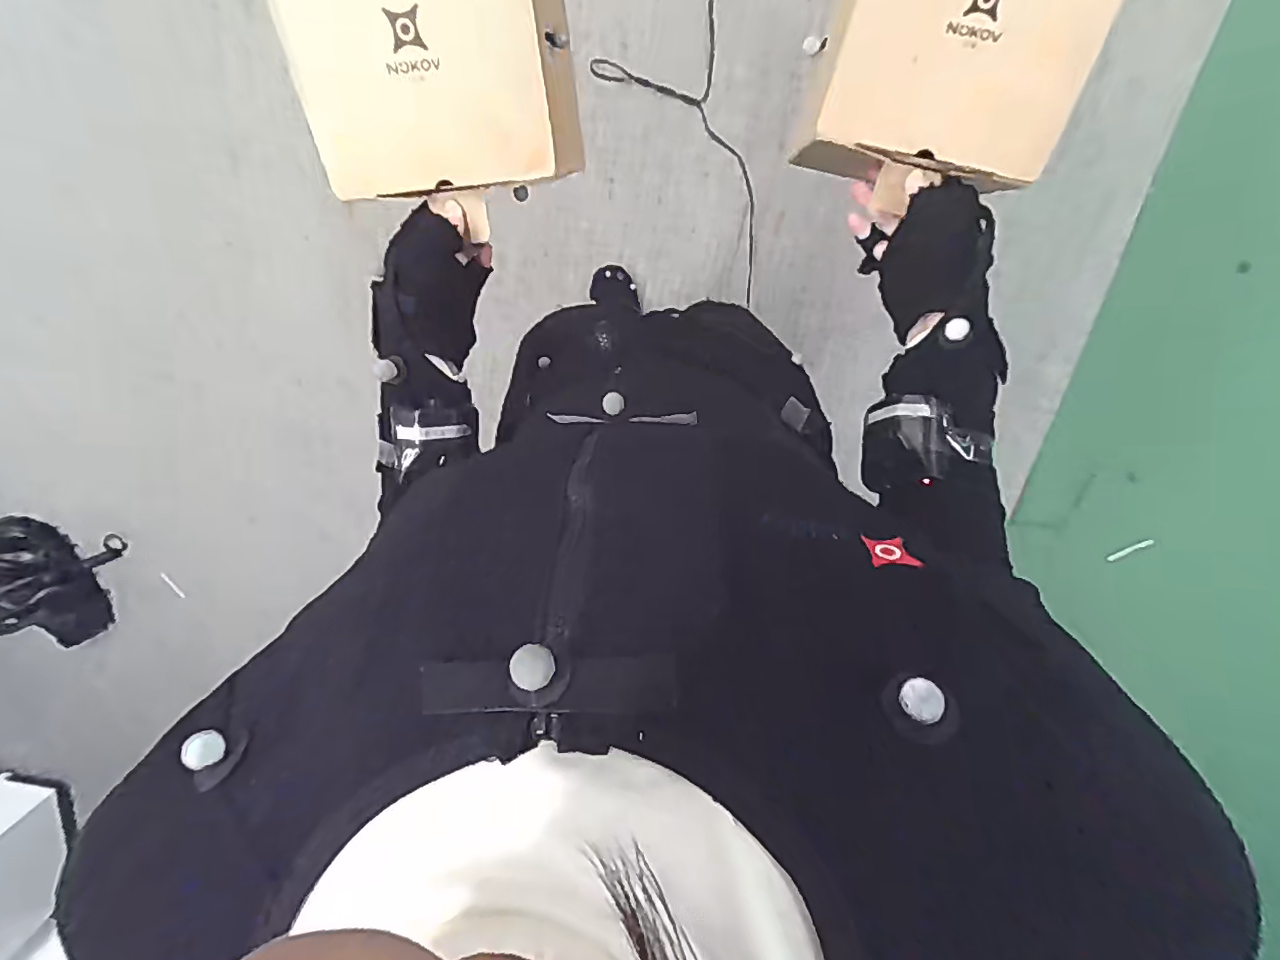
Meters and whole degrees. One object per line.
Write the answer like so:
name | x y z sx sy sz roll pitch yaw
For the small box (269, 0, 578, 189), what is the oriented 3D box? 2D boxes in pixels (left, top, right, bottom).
small box | -0.145 -0.332 0.406 0.168 0.176 0.179 -4 122 3
